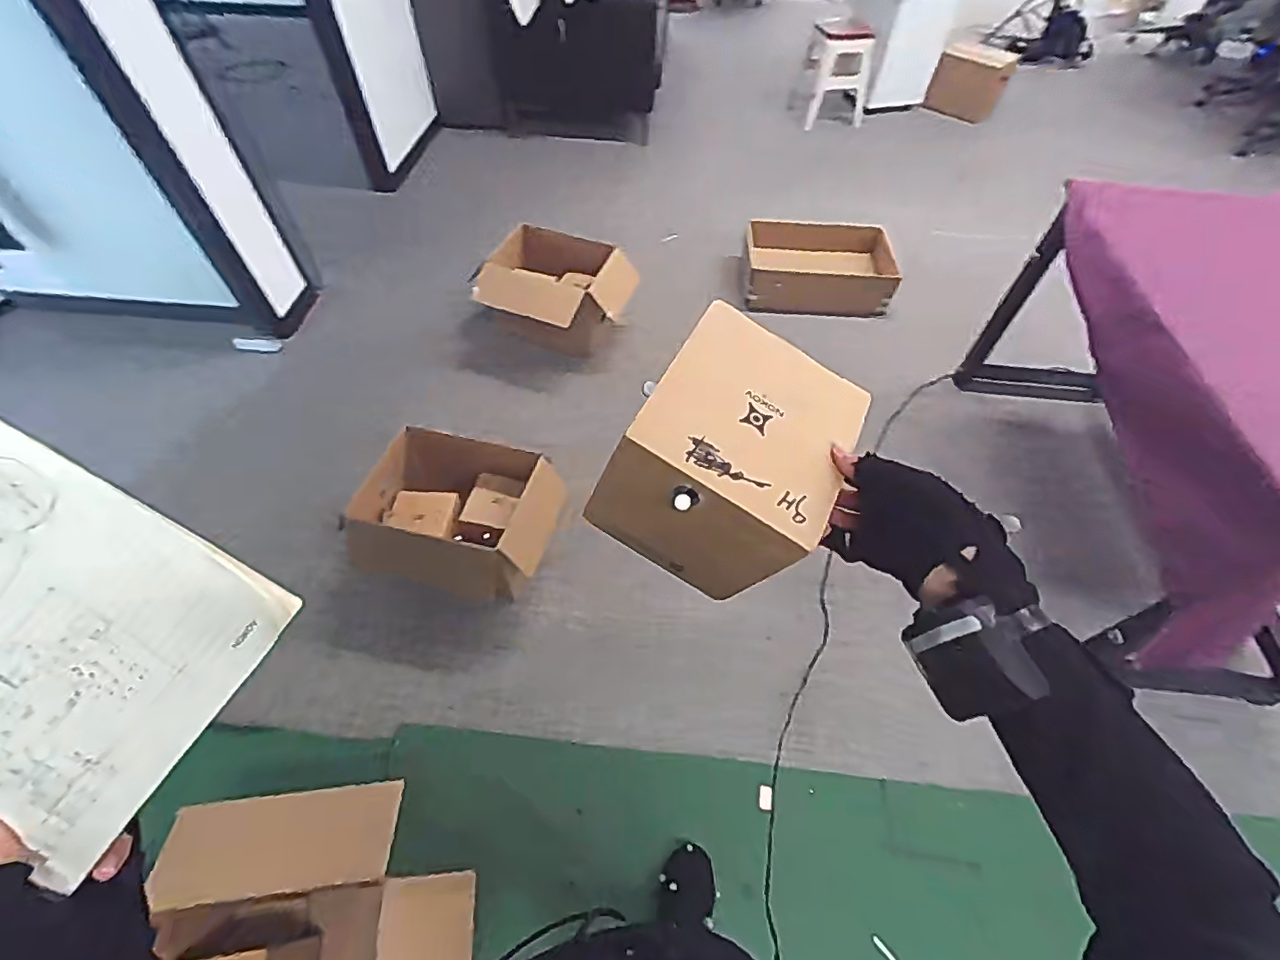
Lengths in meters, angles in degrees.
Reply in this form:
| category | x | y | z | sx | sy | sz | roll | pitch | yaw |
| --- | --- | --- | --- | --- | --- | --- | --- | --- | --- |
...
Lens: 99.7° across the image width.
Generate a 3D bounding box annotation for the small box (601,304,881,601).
| category | x | y | z | sx | sy | sz | roll | pitch | yaw |
| --- | --- | --- | --- | --- | --- | --- | --- | --- | --- |
| small box | 0.083 | -0.016 | 0.500 | 0.168 | 0.176 | 0.179 | 33 | 59 | -1 |
